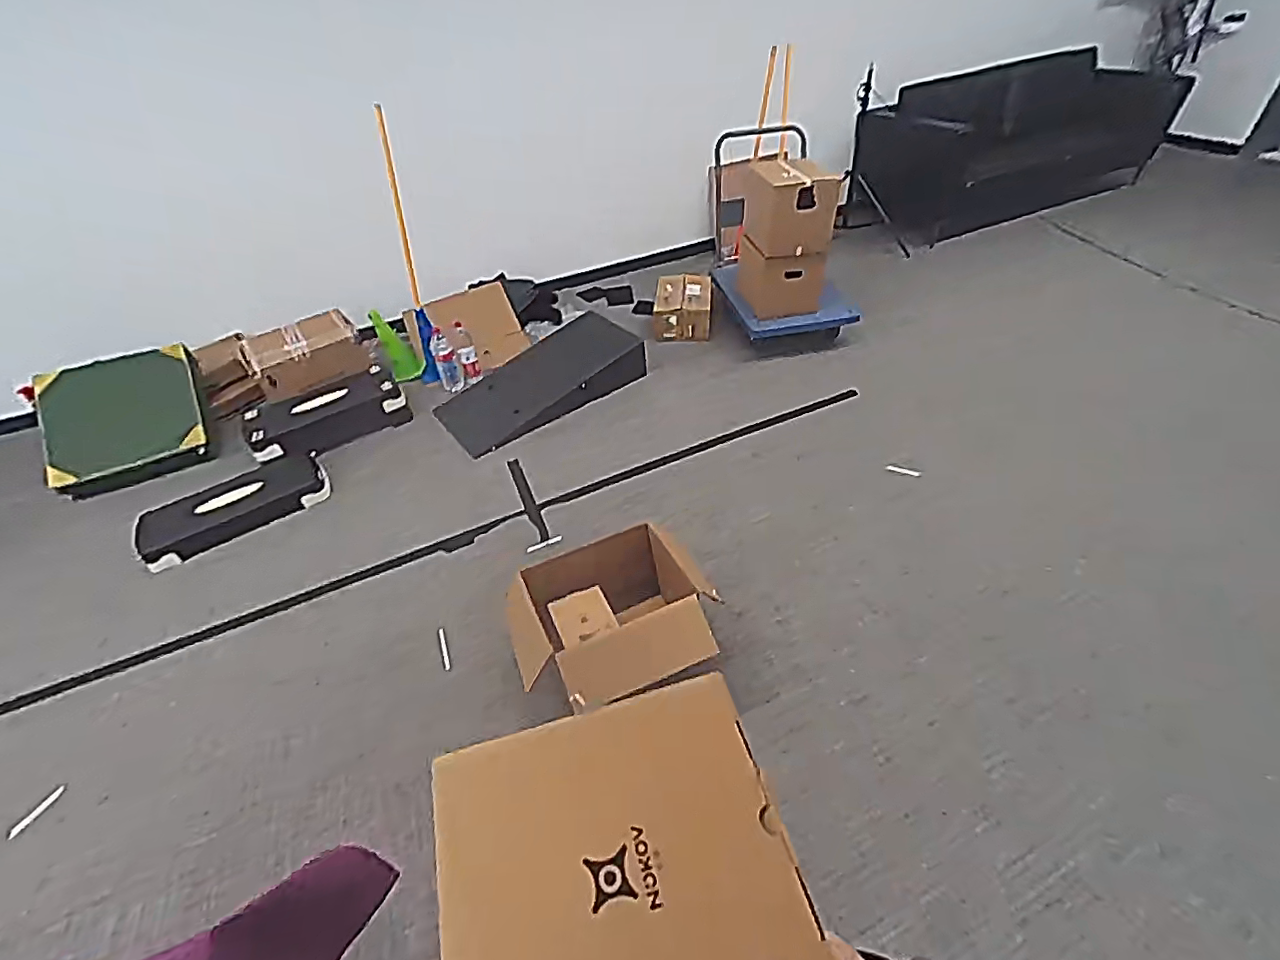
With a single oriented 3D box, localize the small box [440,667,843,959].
[{"bbox_3d":[-0.008,0.247,0.332,0.179,0.176,0.168,-13,50,-12],"label":"small box"}]
